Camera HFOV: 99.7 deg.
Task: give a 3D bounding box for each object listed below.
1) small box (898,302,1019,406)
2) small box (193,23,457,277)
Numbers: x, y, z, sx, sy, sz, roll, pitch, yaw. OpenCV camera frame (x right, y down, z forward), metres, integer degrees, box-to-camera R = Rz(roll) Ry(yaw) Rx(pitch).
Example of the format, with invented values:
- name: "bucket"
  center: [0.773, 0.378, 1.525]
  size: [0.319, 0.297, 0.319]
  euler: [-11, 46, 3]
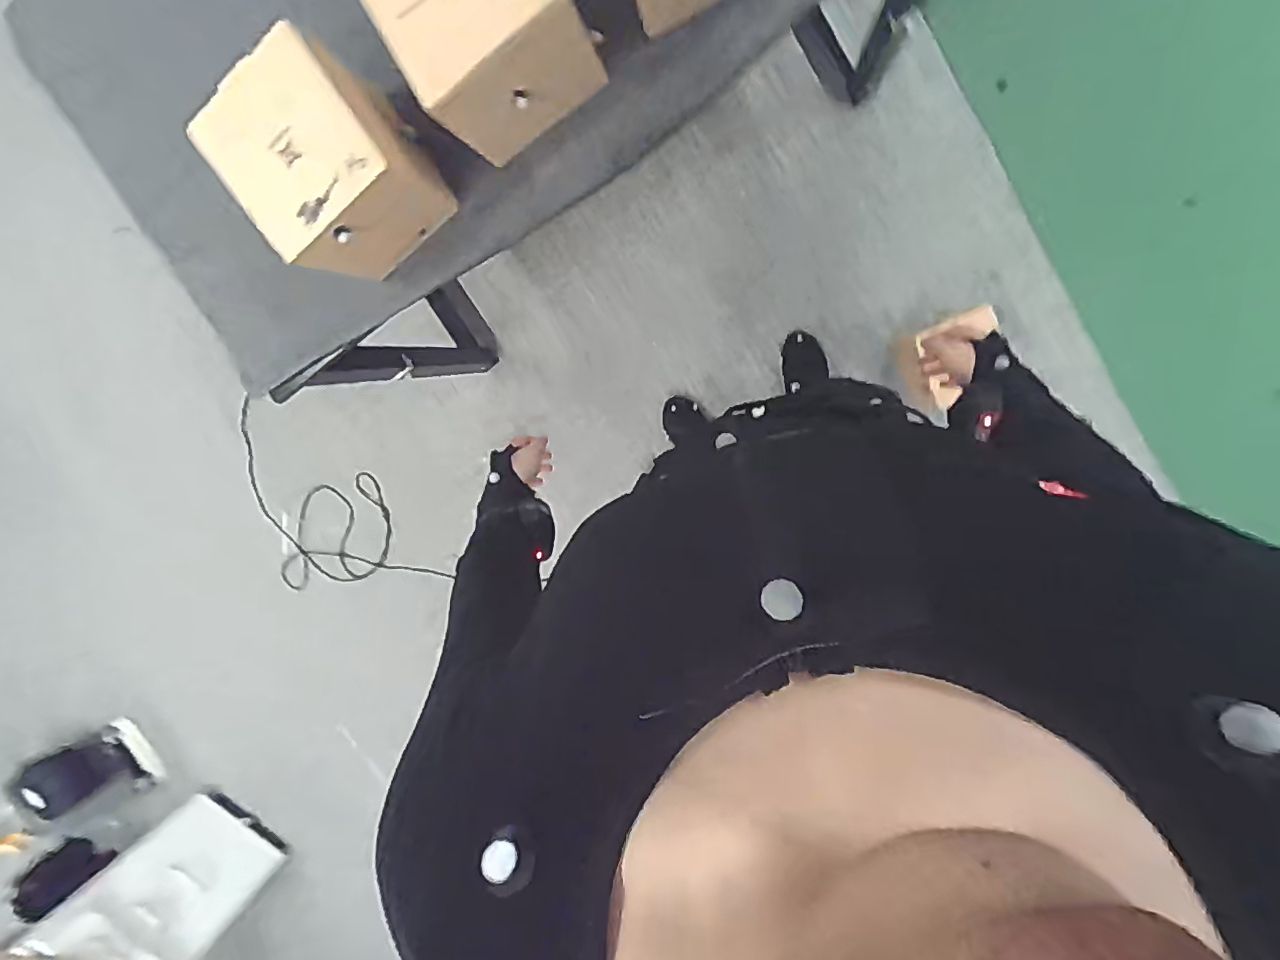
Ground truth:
- name: "small box"
  center: [0.723, -0.290, 1.245]
  size: [0.168, 0.176, 0.179]
  euler: [-23, 99, 14]
- name: "small box"
  center: [-0.363, -0.371, 0.653]
  size: [0.168, 0.176, 0.179]
  euler: [-33, 96, 16]
